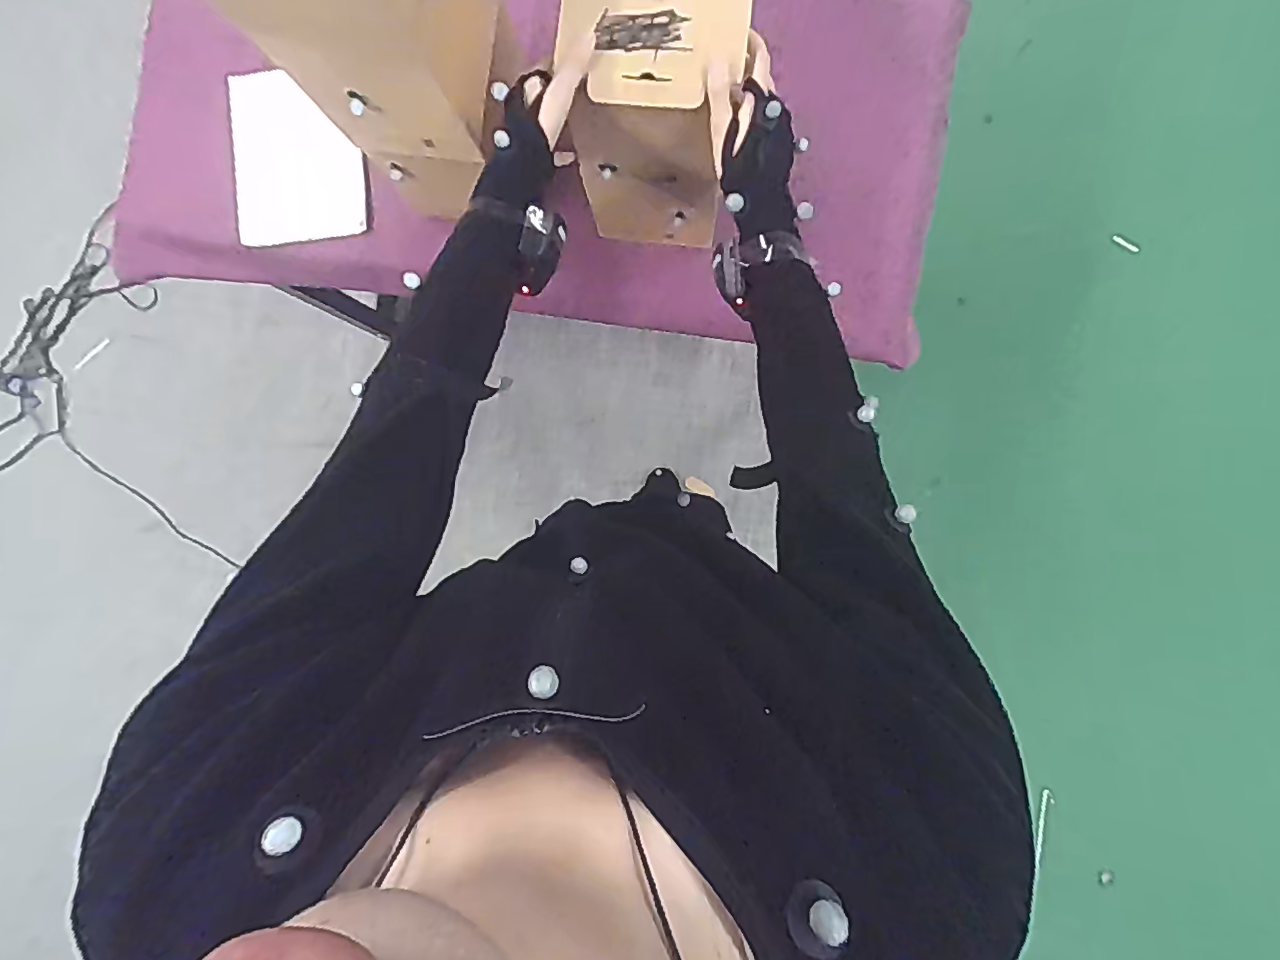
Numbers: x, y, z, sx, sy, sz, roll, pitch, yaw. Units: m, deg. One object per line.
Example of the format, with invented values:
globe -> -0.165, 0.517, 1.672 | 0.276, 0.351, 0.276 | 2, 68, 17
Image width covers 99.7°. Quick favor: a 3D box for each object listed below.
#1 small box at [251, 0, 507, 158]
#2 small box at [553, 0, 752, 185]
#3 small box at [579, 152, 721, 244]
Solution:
small box -> -0.251, -0.470, 0.560 | 0.168, 0.176, 0.179 | 9, 88, 4
small box -> 0.021, -0.427, 0.543 | 0.168, 0.176, 0.179 | 7, 90, 3
small box -> 0.027, -0.432, 0.704 | 0.168, 0.176, 0.179 | 9, 90, 3
